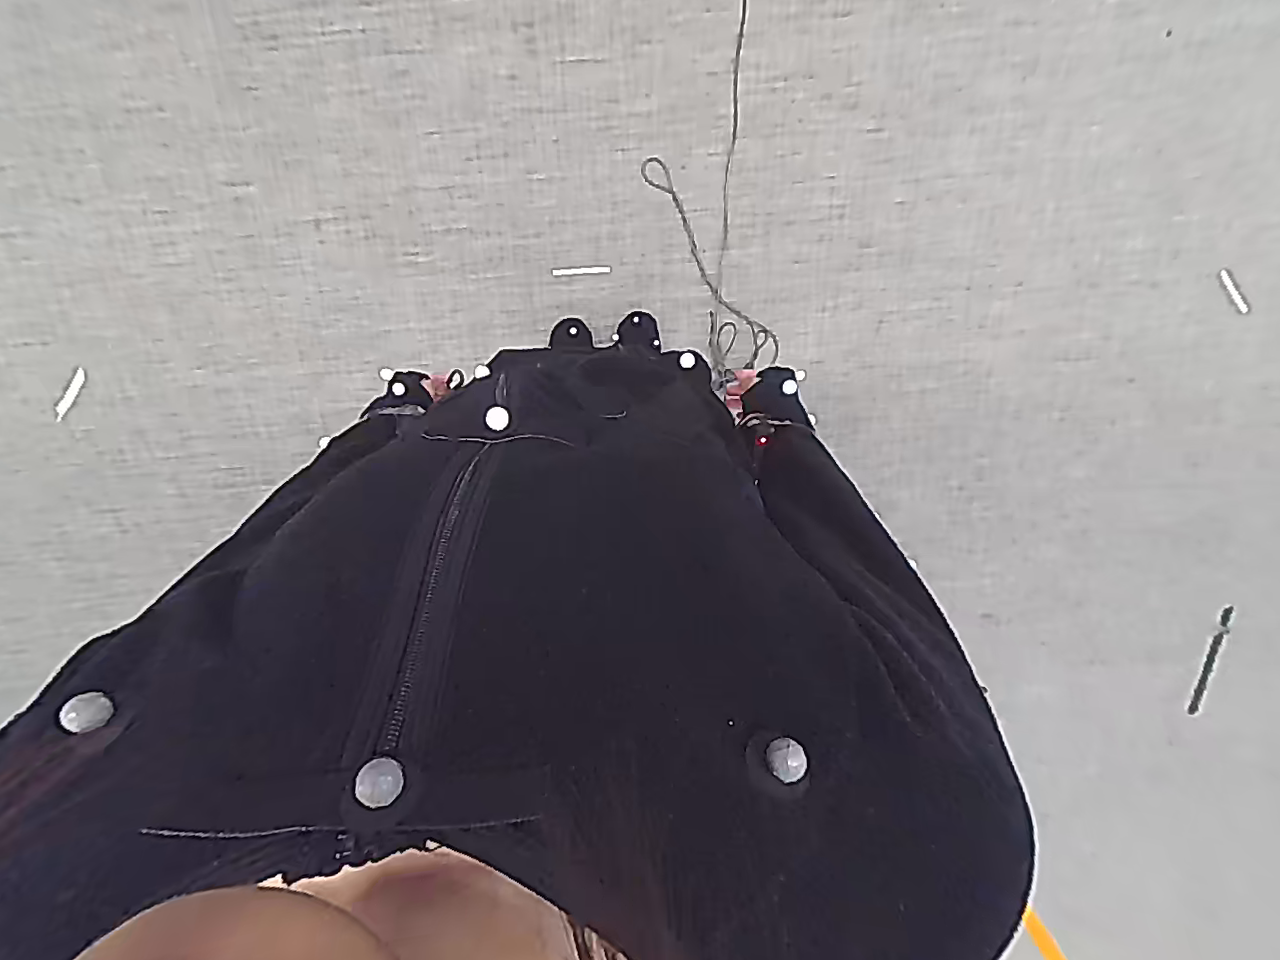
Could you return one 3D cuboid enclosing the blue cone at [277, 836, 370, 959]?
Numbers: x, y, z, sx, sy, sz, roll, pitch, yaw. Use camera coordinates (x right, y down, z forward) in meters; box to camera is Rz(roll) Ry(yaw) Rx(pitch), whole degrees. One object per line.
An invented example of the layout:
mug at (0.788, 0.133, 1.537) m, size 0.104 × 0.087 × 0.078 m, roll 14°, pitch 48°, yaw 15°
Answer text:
blue cone at (-1.030, 1.355, 1.710) m, size 0.193 × 0.380 × 0.192 m, roll -1°, pitch 108°, yaw -1°
